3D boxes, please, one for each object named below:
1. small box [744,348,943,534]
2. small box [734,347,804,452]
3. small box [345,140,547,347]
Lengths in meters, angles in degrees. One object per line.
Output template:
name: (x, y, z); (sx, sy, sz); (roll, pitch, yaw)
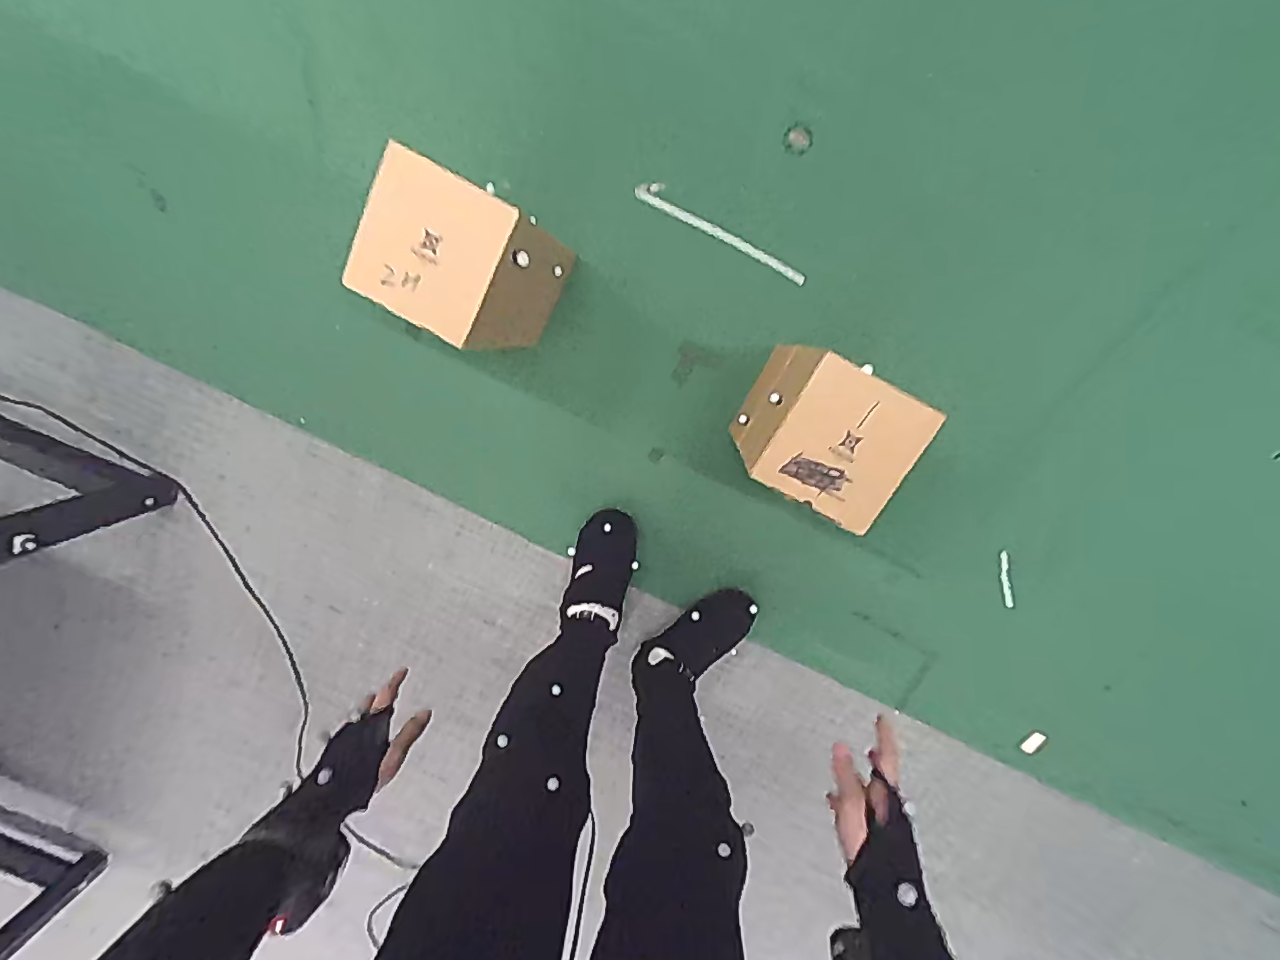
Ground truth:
small box: (0.253, -0.062, 0.729); (0.168, 0.176, 0.179); (28, 105, -4)
small box: (0.266, -0.105, 0.887); (0.168, 0.176, 0.179); (28, 106, -3)
small box: (-0.237, -0.291, 0.707); (0.168, 0.176, 0.179); (29, 105, -2)
